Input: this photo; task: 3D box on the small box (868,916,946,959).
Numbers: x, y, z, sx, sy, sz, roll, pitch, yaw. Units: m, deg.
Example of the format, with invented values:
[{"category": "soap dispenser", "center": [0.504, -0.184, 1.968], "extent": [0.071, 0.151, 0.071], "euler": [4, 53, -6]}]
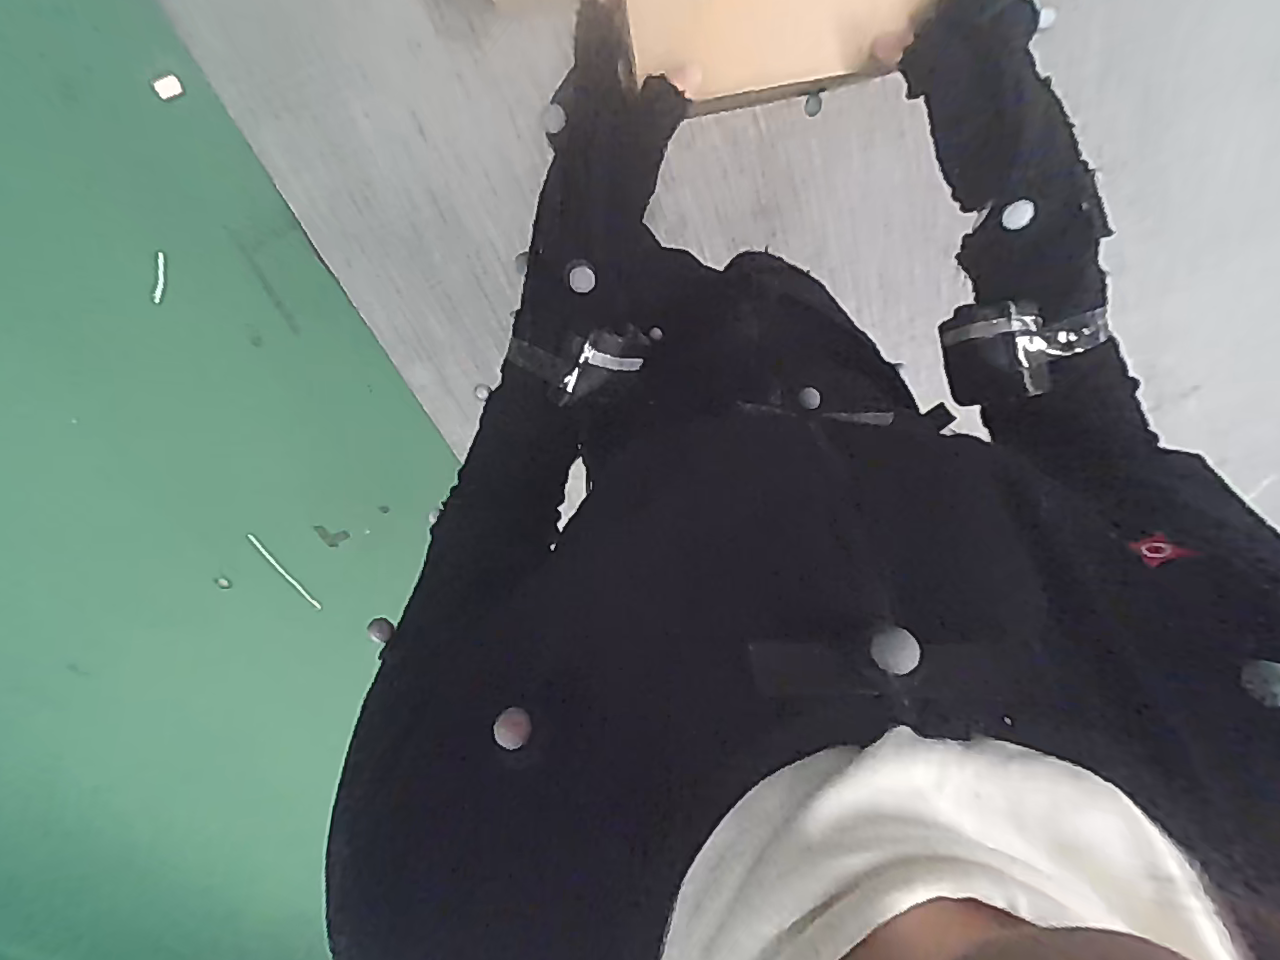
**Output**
[{"category": "small box", "center": [0.731, 1.305, 1.447], "extent": [0.168, 0.176, 0.179], "euler": [-21, 122, 7]}]

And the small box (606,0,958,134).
[{"category": "small box", "center": [0.070, -0.334, 0.338], "extent": [0.179, 0.176, 0.168], "euler": [-15, 120, 2]}]
